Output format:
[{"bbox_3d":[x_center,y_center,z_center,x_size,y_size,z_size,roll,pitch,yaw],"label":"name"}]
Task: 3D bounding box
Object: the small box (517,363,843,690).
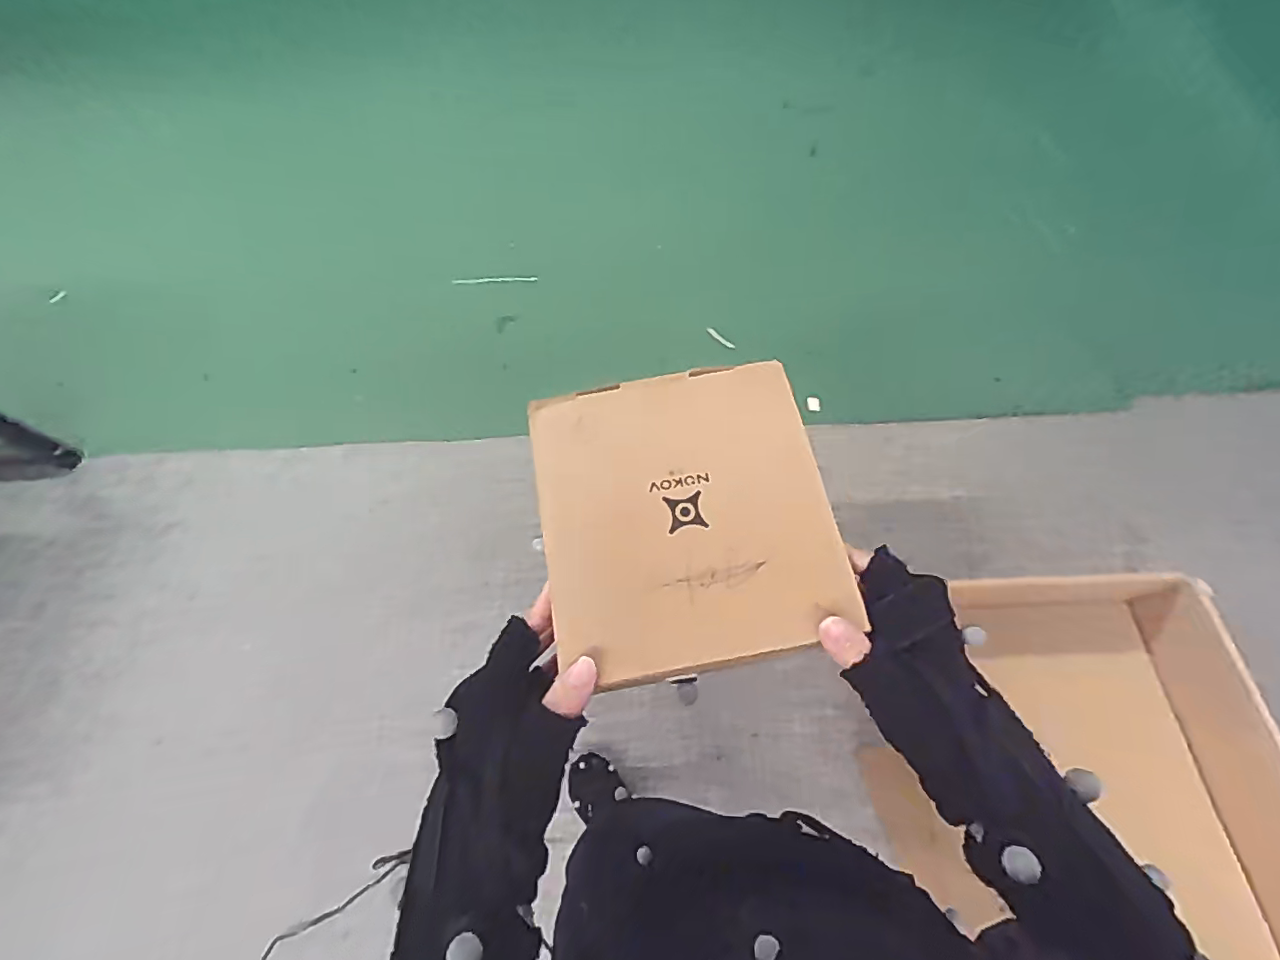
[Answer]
[{"bbox_3d":[0.016,0.045,0.391,0.168,0.176,0.179,-11,68,-3],"label":"small box"}]
